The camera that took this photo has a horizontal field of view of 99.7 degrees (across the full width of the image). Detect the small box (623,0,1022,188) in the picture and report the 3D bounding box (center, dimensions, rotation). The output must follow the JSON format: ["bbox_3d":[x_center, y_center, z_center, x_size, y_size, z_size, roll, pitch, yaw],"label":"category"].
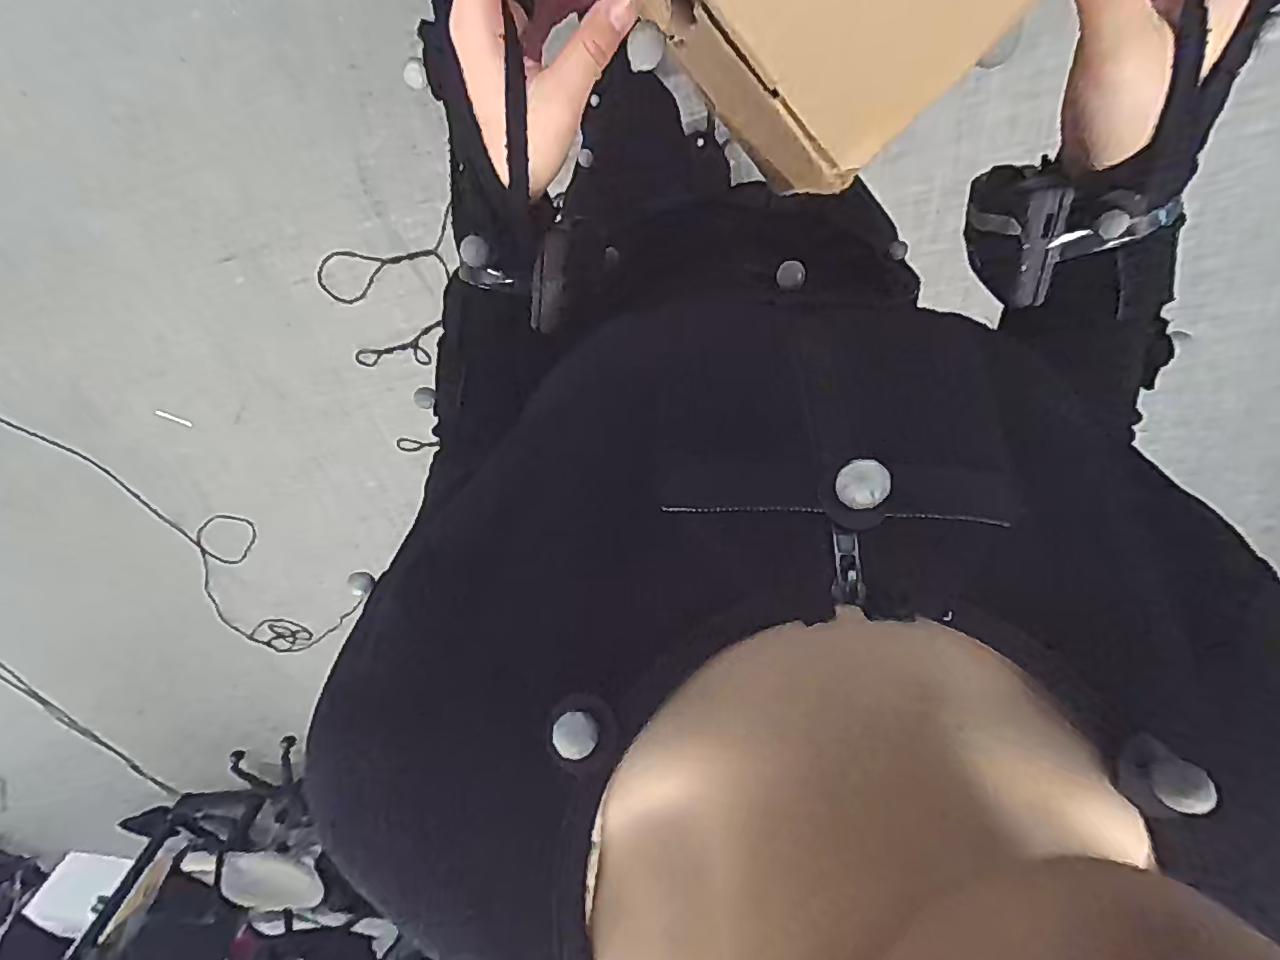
[{"bbox_3d":[0.070,-0.226,0.180,0.179,0.176,0.168,-40,105,24],"label":"small box"}]
